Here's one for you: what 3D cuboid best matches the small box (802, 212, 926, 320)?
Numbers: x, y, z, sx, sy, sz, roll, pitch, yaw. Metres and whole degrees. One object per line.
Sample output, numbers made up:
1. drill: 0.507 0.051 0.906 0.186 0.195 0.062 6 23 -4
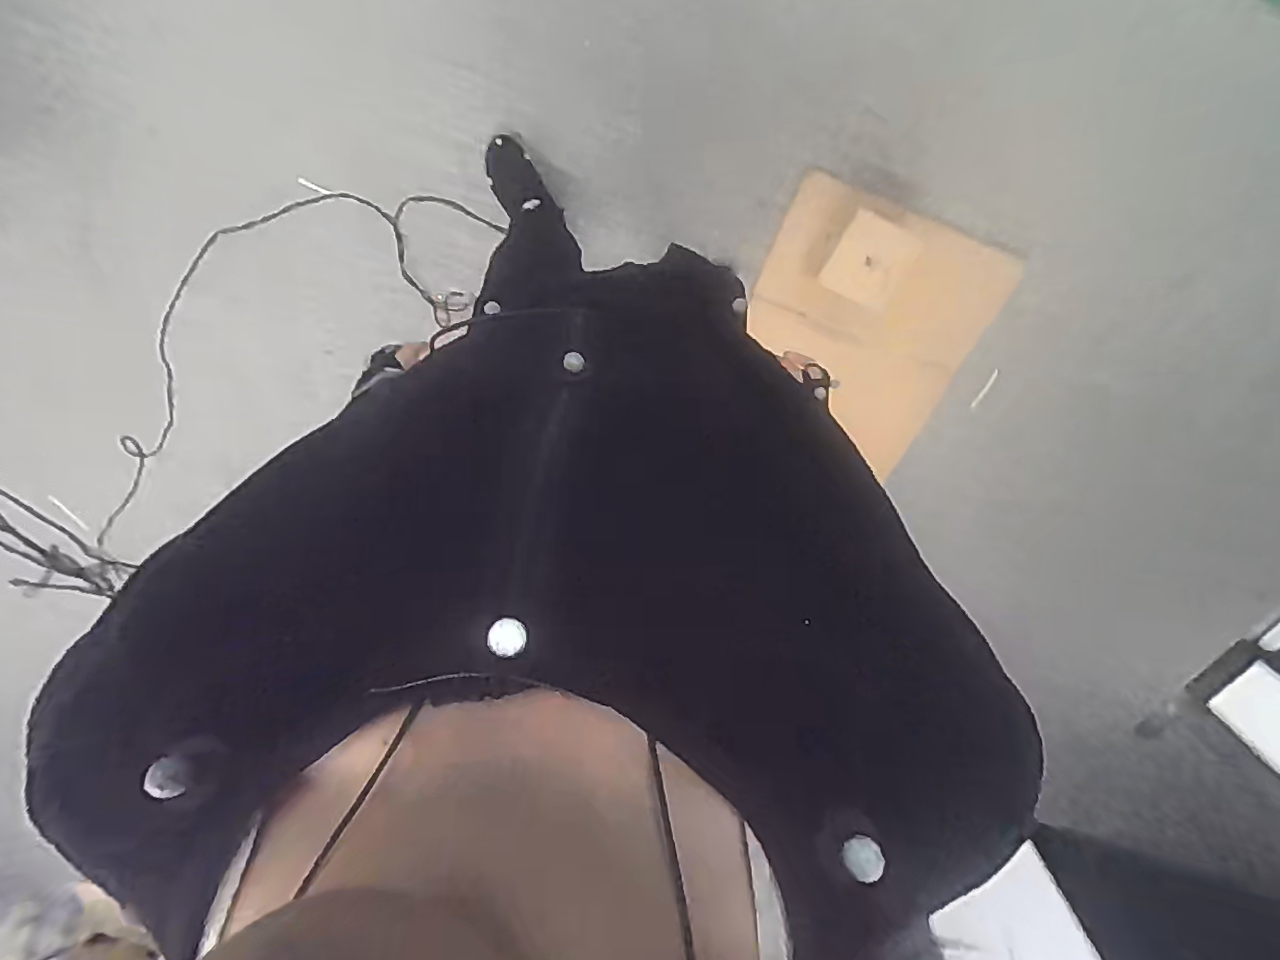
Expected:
1. small box: 0.499 -0.494 1.238 0.179 0.176 0.168 23 117 -11
